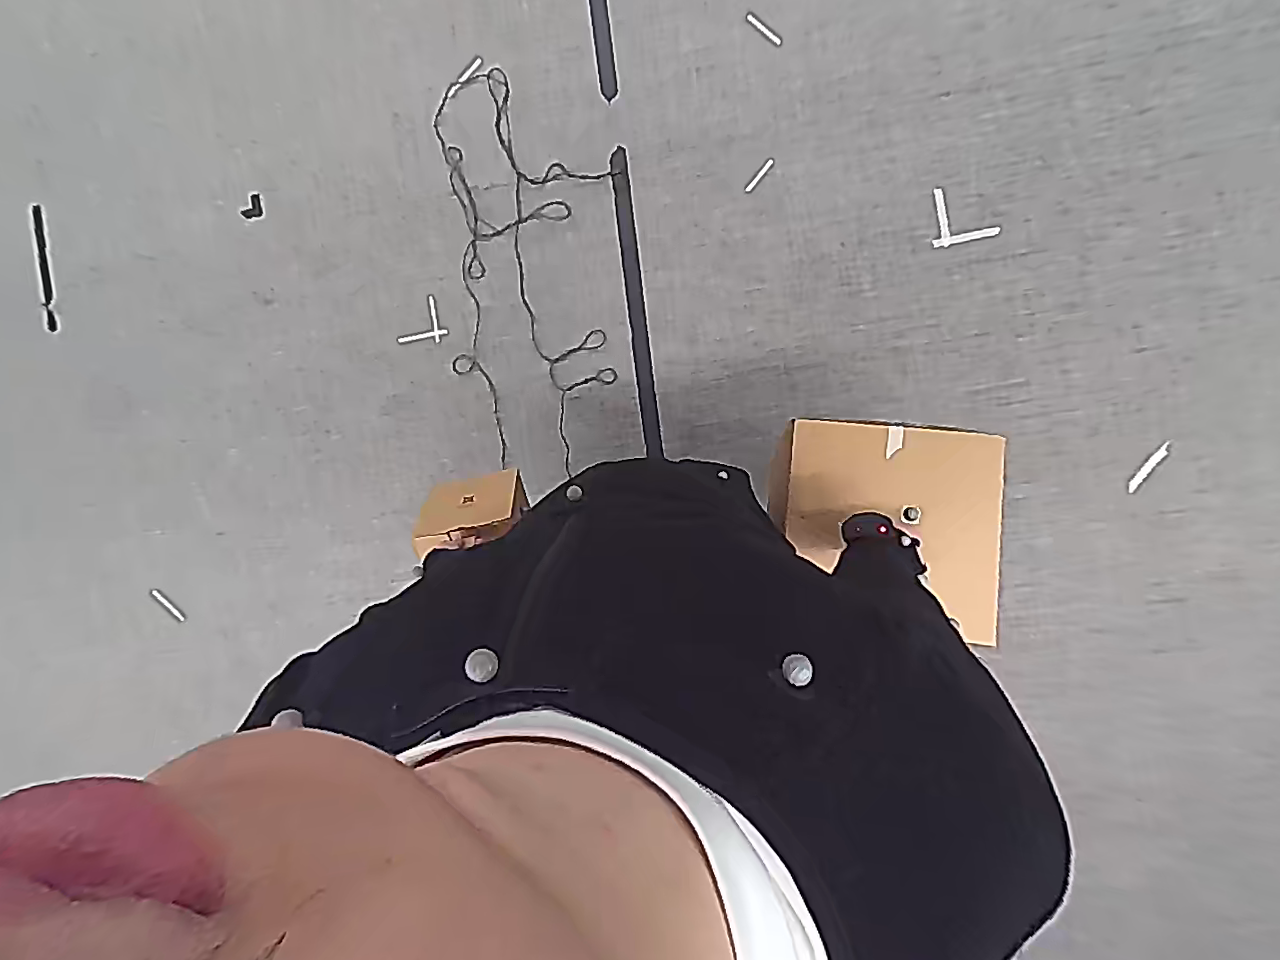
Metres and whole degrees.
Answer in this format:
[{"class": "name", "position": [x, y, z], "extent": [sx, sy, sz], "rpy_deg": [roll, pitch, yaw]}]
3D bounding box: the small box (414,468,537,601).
[{"class": "small box", "position": [-0.291, 0.104, 1.000], "extent": [0.168, 0.179, 0.176], "rpy_deg": [-11, 122, -2]}]
